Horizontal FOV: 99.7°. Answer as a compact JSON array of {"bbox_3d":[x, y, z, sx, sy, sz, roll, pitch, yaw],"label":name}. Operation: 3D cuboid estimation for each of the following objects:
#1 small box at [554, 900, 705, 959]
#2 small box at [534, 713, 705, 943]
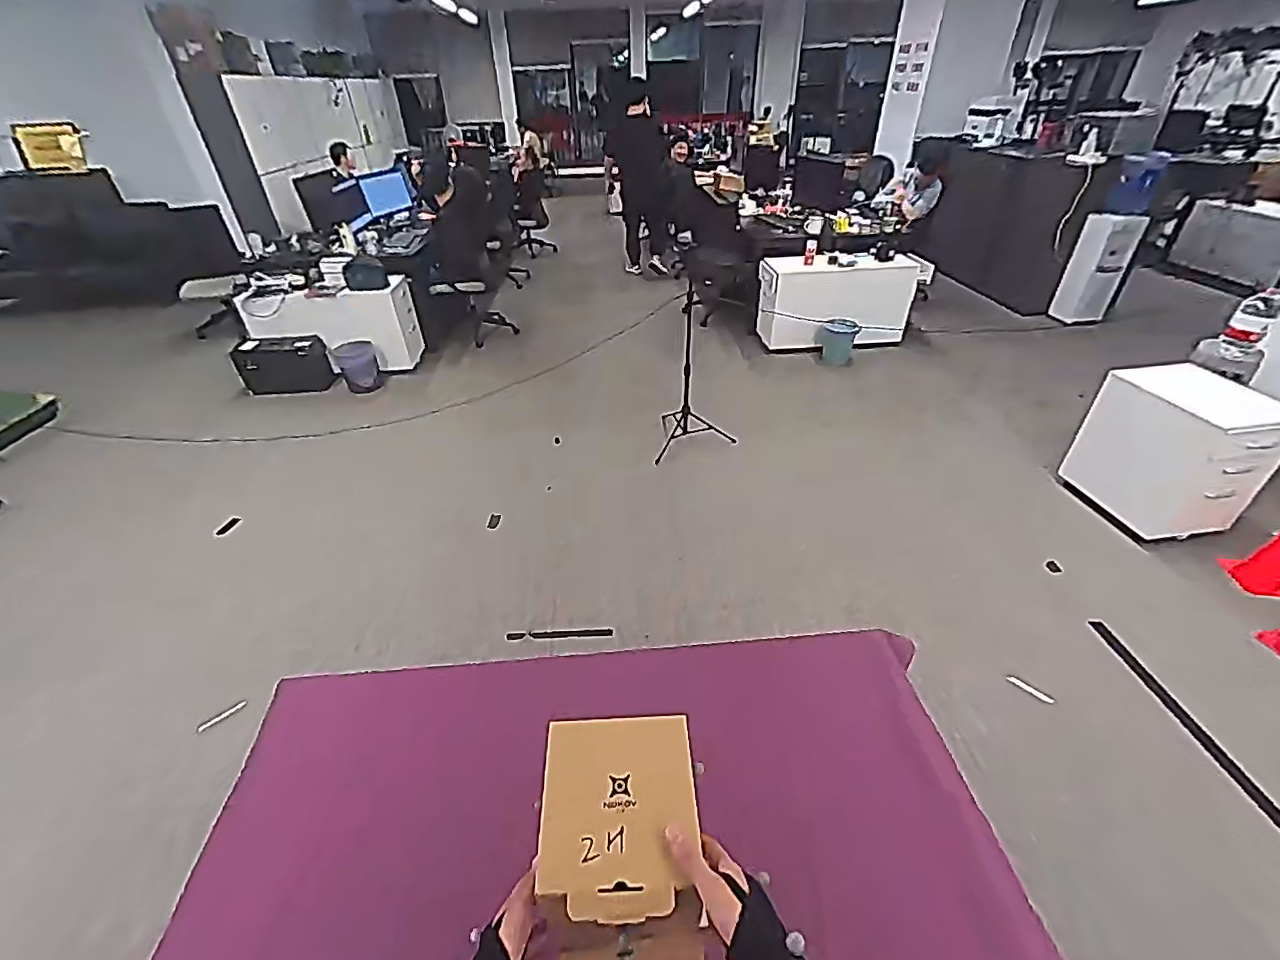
[{"bbox_3d":[-0.018,0.532,0.720,0.179,0.176,0.168,-5,37,-6],"label":"small box"},{"bbox_3d":[-0.021,0.396,0.624,0.168,0.176,0.179,-2,37,-1],"label":"small box"}]
